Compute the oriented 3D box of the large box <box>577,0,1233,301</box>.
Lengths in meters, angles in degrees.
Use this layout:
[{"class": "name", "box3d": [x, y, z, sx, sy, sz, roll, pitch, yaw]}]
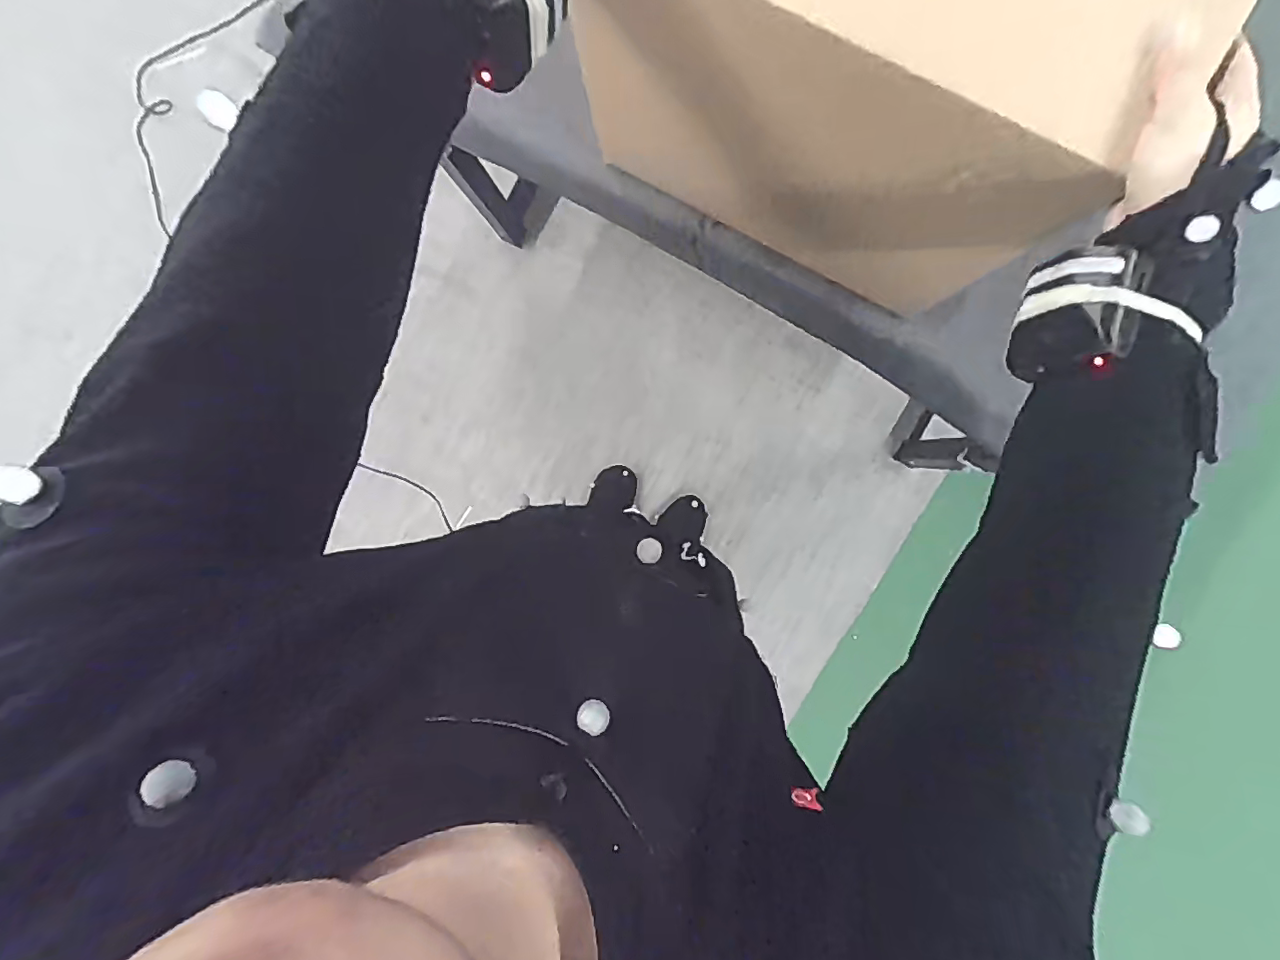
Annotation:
[{"class": "large box", "box3d": [0.193, -0.416, 0.462, 0.408, 0.320, 0.320, 28, 94, 1]}]
